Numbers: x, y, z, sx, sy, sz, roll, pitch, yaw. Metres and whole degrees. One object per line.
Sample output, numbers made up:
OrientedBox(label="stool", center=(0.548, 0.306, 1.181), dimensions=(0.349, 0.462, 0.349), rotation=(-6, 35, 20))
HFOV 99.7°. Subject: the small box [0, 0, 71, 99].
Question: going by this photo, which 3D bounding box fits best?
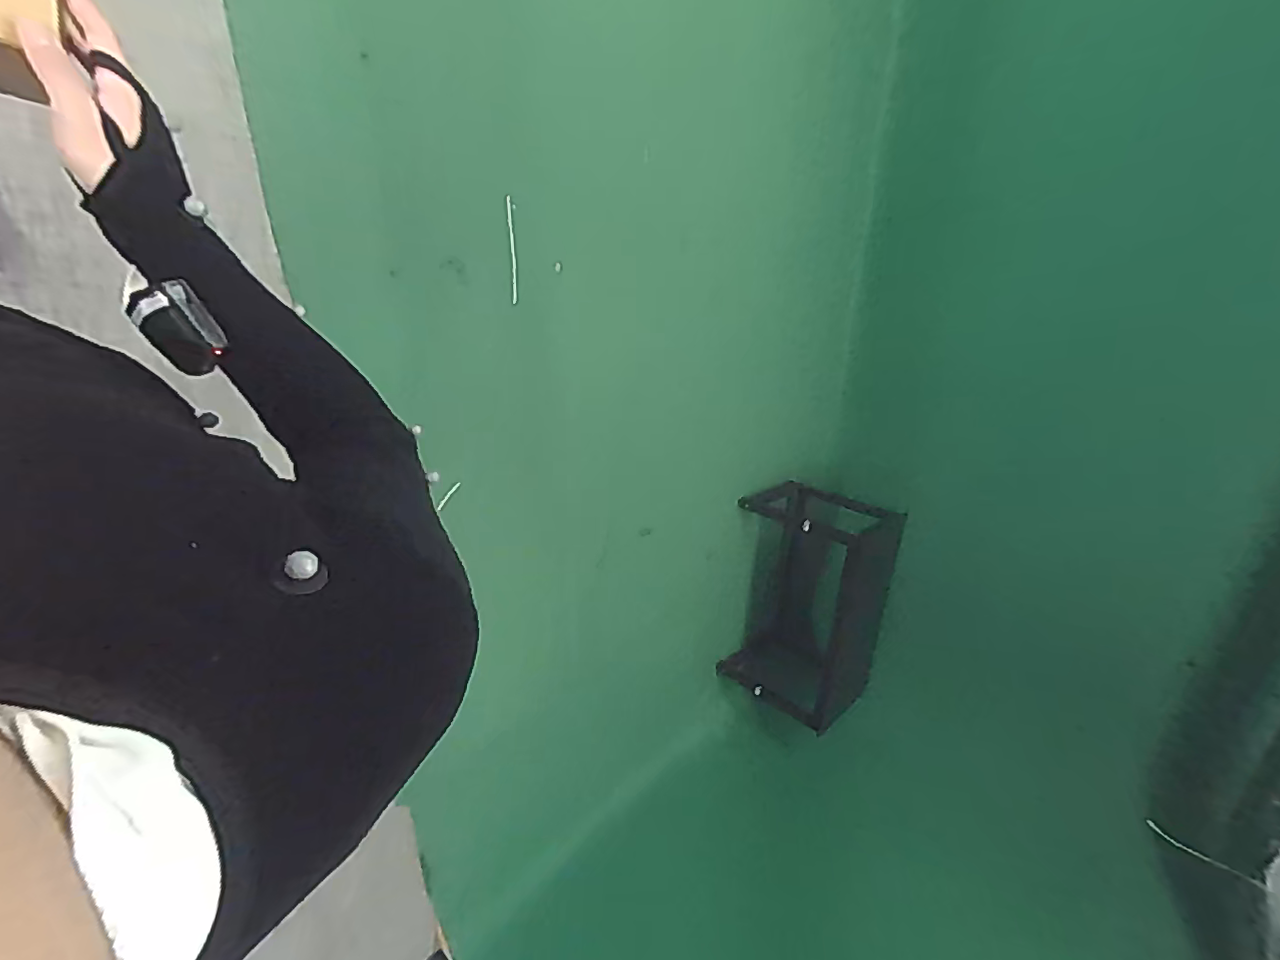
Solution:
OrientedBox(label="small box", center=(-0.504, -0.399, 0.358), dimensions=(0.168, 0.176, 0.179), rotation=(-3, 106, -43))
